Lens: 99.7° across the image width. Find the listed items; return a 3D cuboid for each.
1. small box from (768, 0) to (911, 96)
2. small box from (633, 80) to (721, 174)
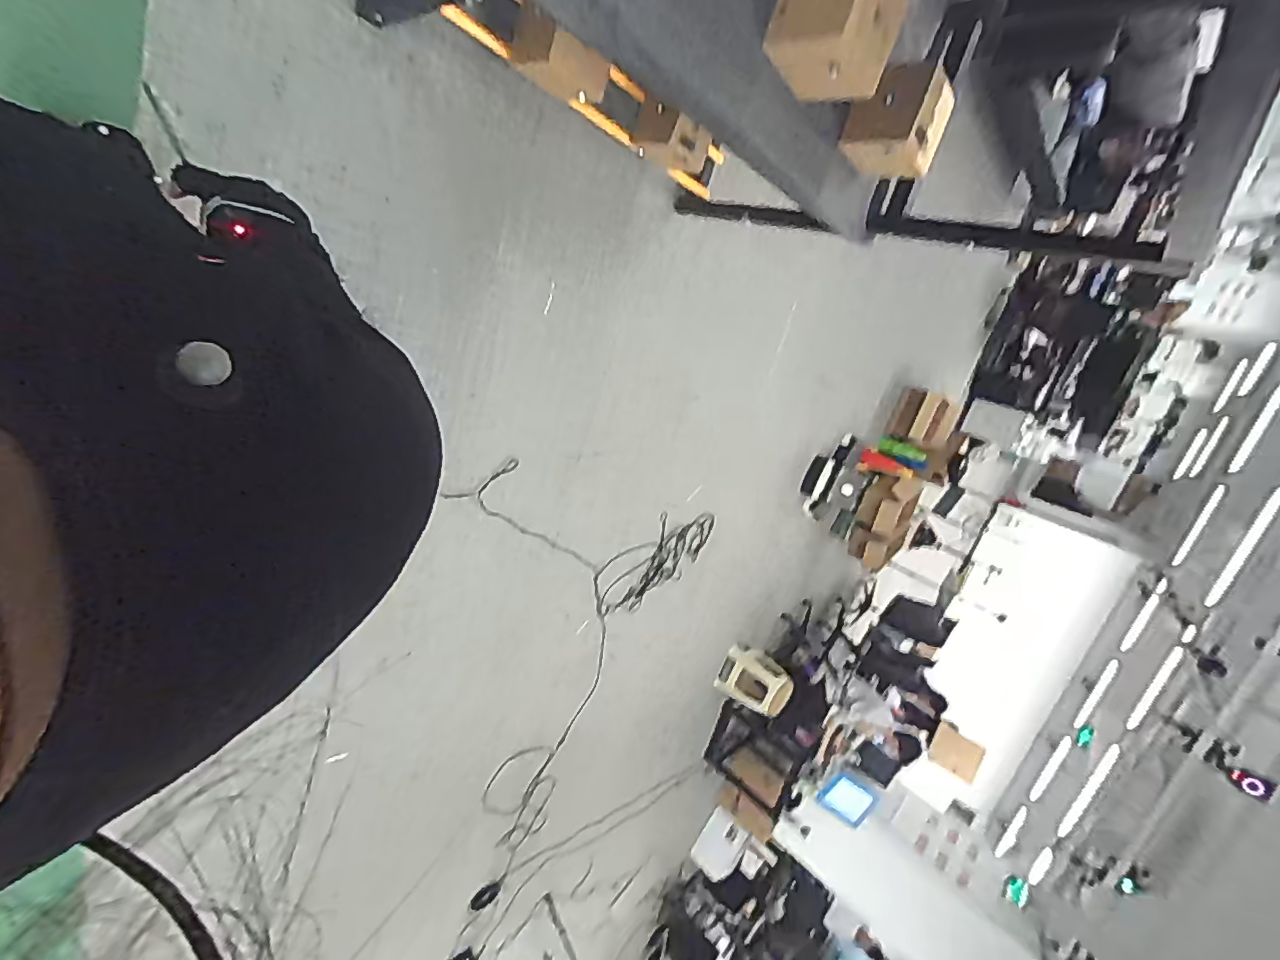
[{"bbox_3d":[0.365,-0.843,1.003,0.179,0.176,0.168,4,110,-50],"label":"small box"},{"bbox_3d":[0.104,-1.043,1.606,0.168,0.176,0.179,5,110,-51],"label":"small box"}]
